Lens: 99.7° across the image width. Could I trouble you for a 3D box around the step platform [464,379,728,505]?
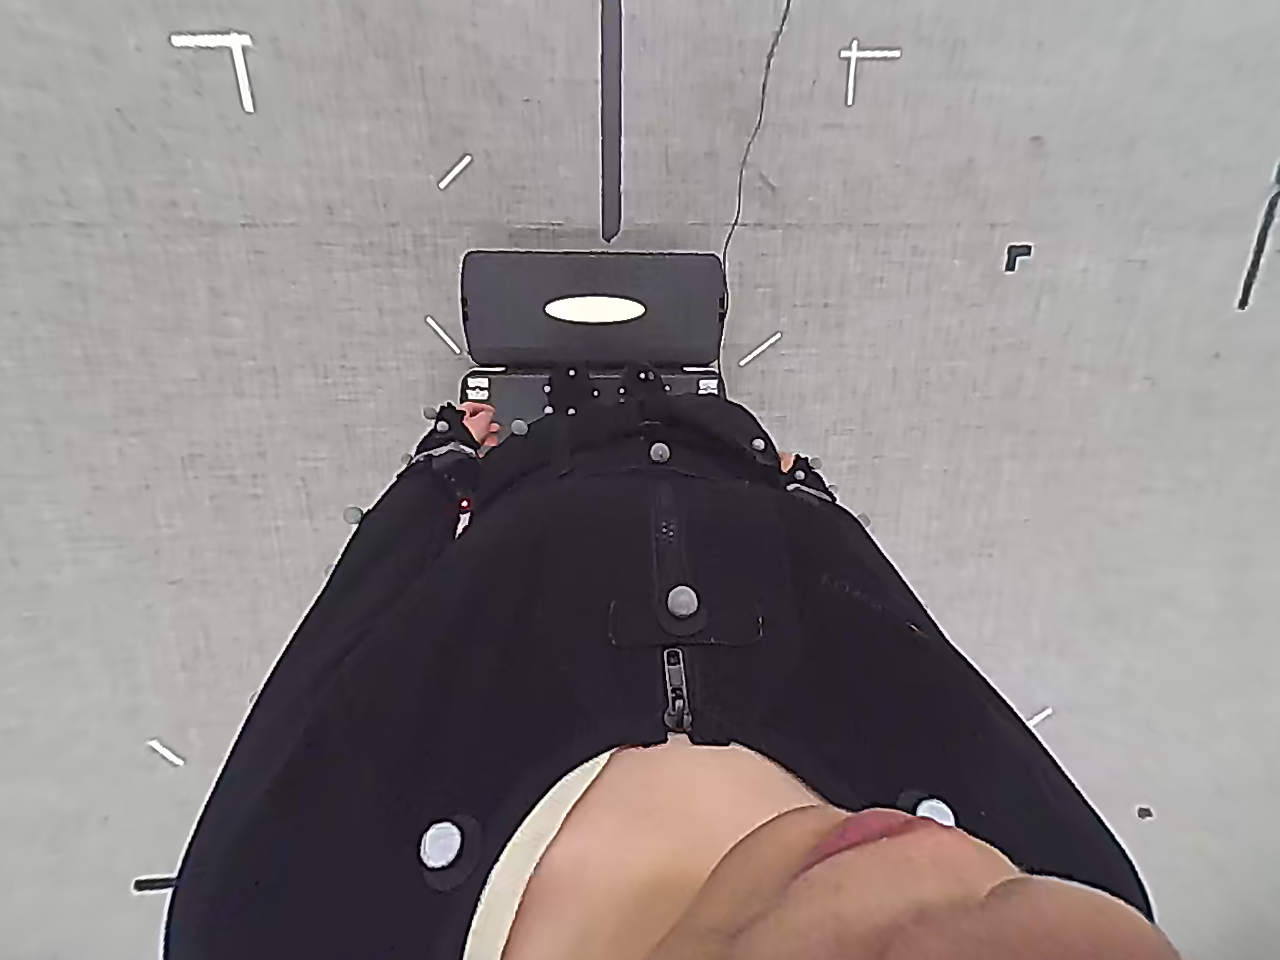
[{"bbox_3d":[-0.111,-0.102,1.439,0.684,0.204,0.286,3,103,-4],"label":"step platform"}]
